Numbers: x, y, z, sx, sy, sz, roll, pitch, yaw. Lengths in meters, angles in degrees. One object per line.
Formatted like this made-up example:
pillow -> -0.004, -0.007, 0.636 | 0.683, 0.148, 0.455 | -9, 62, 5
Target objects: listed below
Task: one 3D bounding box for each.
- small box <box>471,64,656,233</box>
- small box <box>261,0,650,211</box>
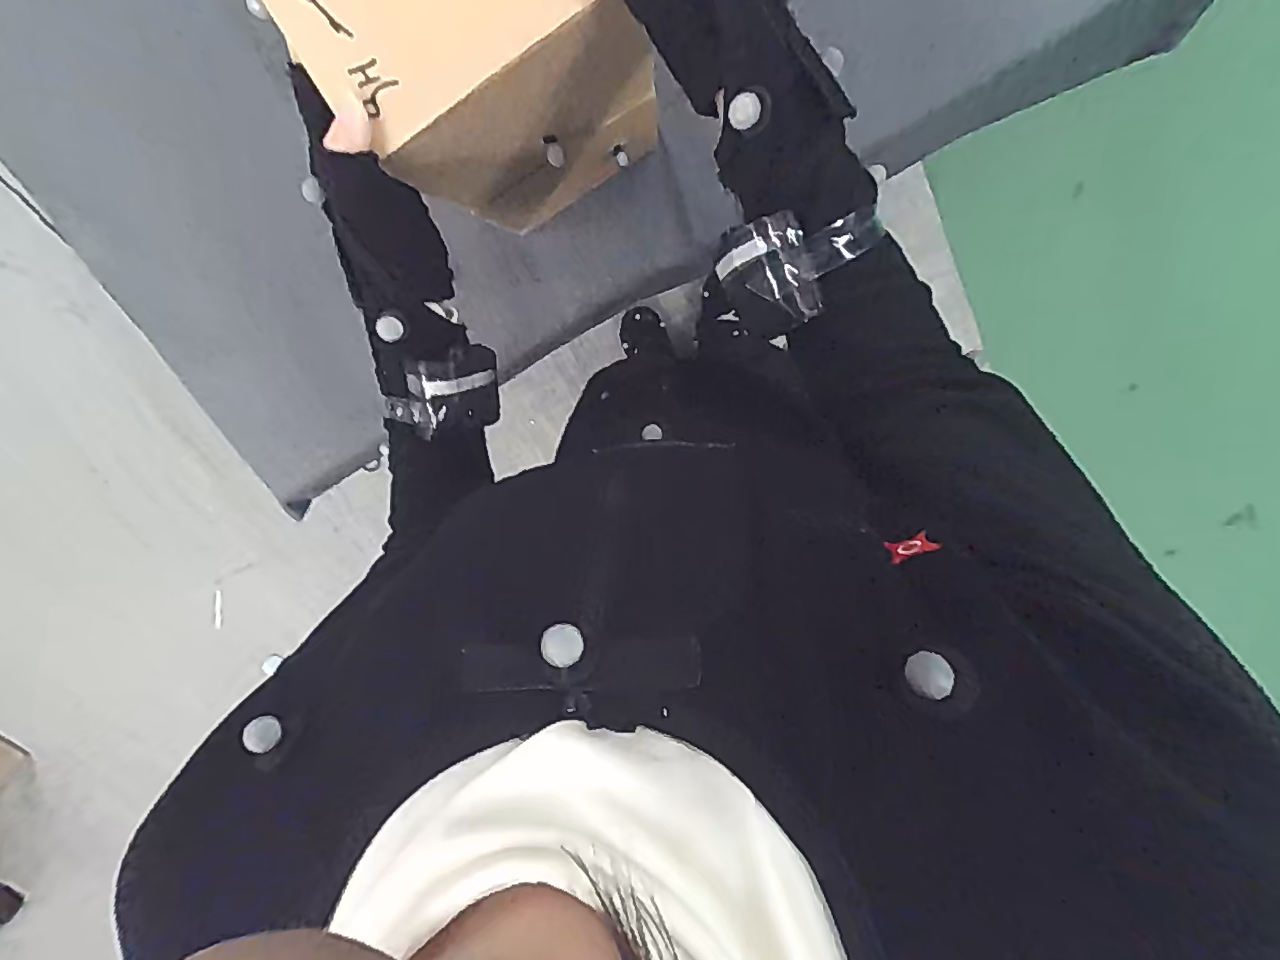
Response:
small box -> -0.098, -0.351, 0.490 | 0.179, 0.176, 0.168 | -28, 104, 13
small box -> -0.108, -0.299, 0.337 | 0.179, 0.176, 0.168 | -30, 105, 12
